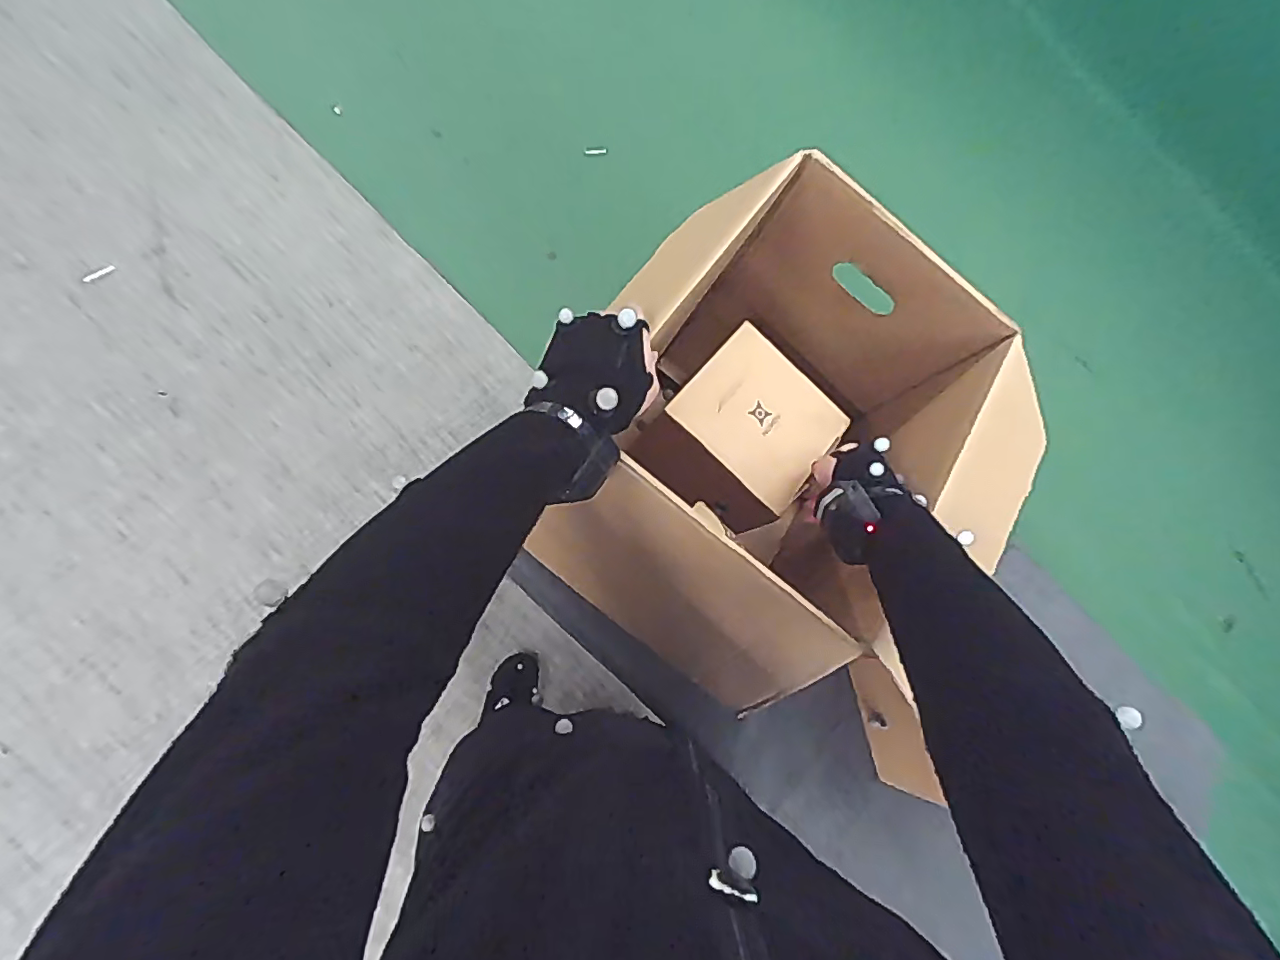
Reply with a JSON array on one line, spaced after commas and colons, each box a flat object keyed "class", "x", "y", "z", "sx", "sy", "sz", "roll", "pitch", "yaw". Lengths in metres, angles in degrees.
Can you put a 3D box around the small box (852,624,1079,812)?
[{"class": "small box", "x": 0.415, "y": 0.296, "z": 0.716, "sx": 0.168, "sy": 0.176, "sz": 0.179, "roll": -8, "pitch": 79, "yaw": -15}]
